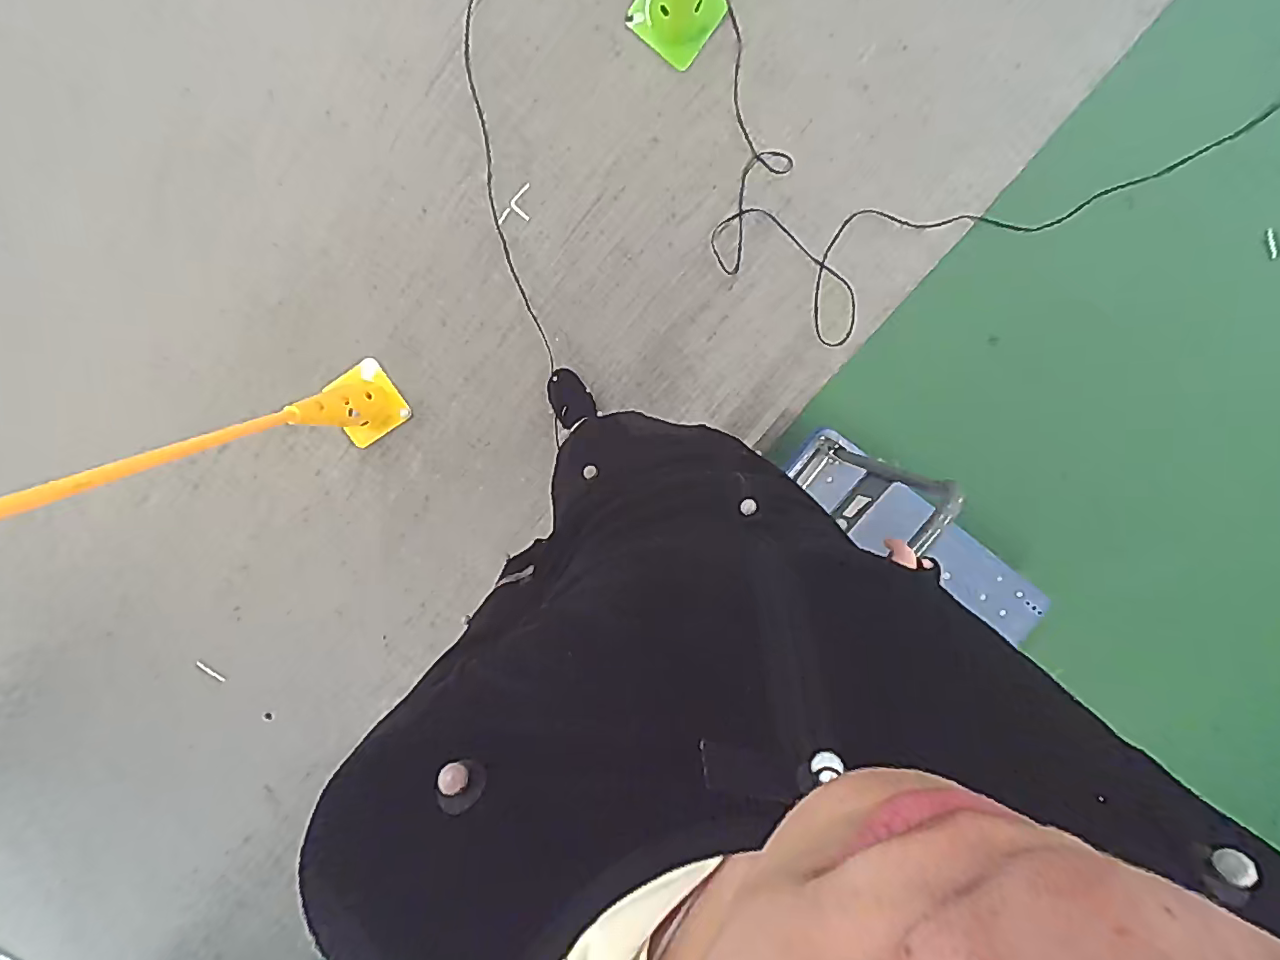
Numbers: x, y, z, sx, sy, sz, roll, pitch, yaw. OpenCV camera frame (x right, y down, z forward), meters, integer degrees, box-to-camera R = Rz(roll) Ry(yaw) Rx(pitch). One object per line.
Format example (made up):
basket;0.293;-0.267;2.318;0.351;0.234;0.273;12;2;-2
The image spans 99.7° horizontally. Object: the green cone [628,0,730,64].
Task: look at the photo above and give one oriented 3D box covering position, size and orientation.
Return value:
green cone;0.103;-1.156;1.189;0.200;0.368;0.202;36;98;-8
